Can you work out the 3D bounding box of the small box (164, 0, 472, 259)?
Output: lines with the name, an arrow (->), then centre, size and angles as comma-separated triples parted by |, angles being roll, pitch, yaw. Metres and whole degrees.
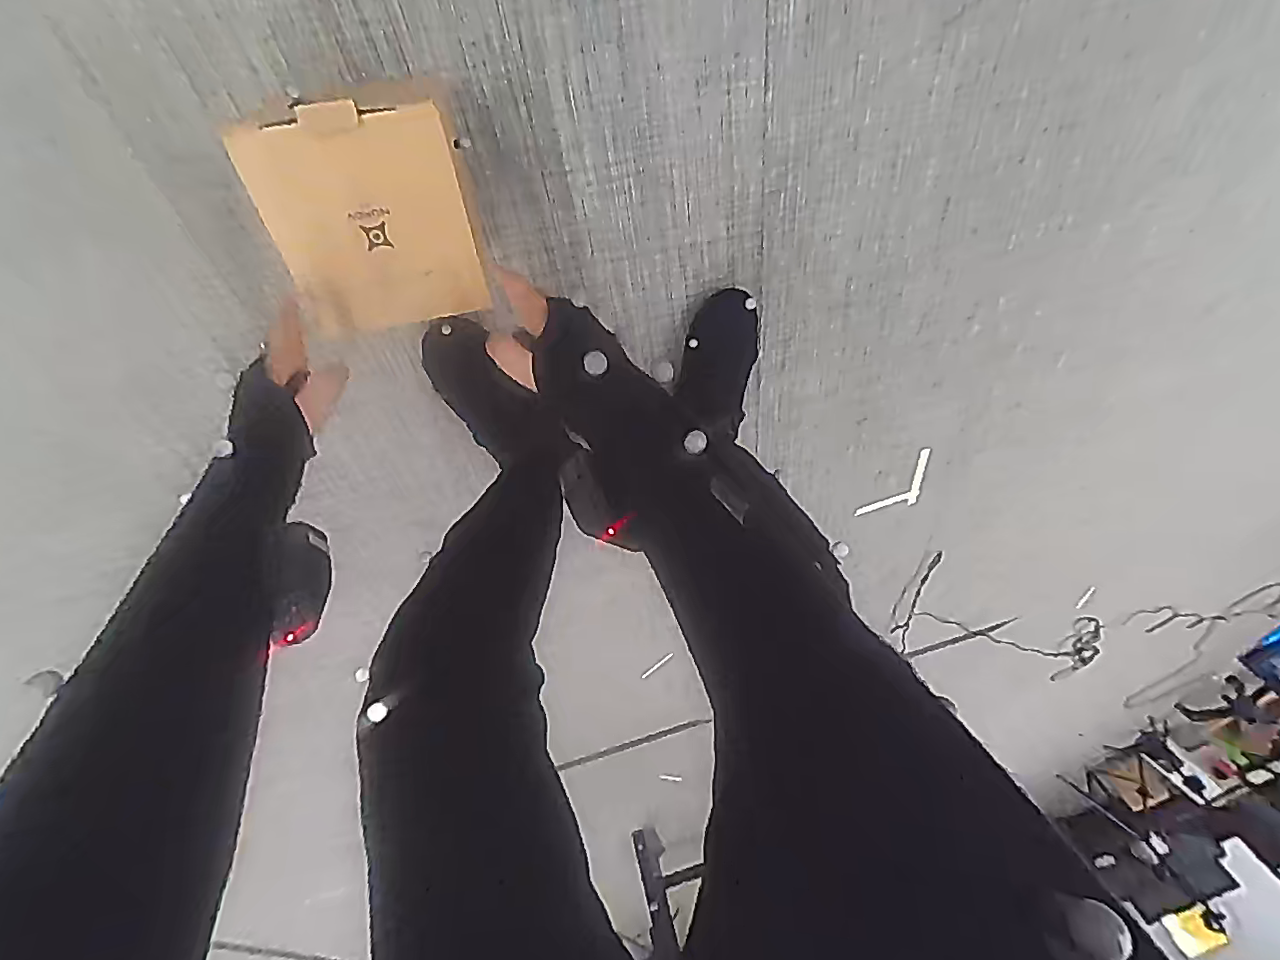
small box -> -0.260, -0.327, 0.490 | 0.168, 0.176, 0.179 | -12, 134, -7
